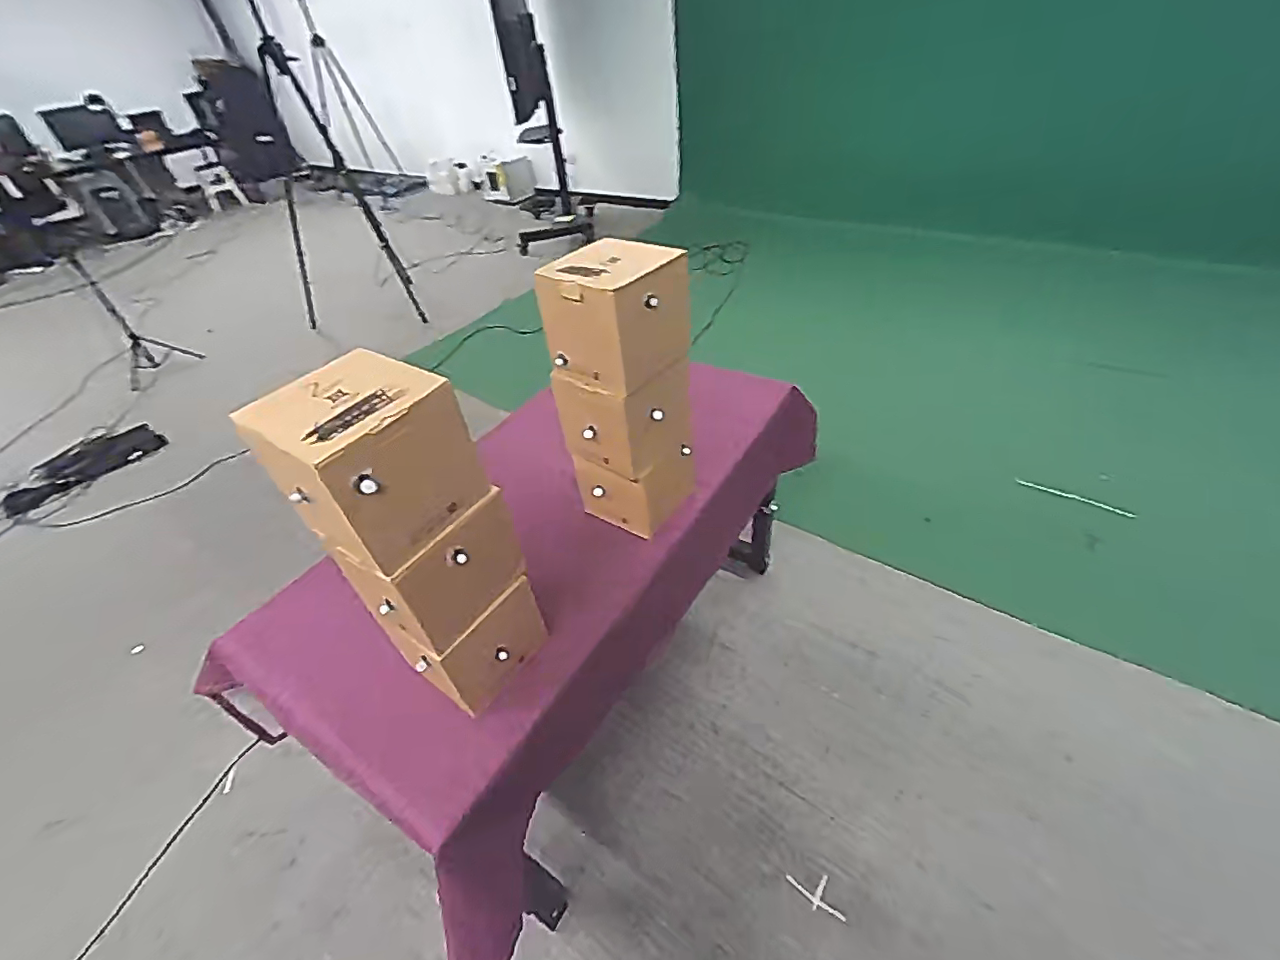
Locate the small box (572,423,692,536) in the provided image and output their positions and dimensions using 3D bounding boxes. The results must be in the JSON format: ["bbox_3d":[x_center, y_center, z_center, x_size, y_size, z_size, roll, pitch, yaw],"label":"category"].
[{"bbox_3d":[-0.005,-0.018,1.074,0.168,0.176,0.179,21,49,29],"label":"small box"}]

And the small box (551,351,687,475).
[{"bbox_3d":[-0.027,-0.136,0.962,0.168,0.176,0.179,25,51,31],"label":"small box"}]

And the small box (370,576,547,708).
[{"bbox_3d":[-0.271,0.225,0.844,0.179,0.176,0.168,22,49,30],"label":"small box"}]

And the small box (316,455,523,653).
[{"bbox_3d":[-0.286,0.100,0.739,0.168,0.176,0.179,22,49,28],"label":"small box"}]

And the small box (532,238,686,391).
[{"bbox_3d":[-0.038,-0.263,0.857,0.168,0.176,0.179,24,50,32],"label":"small box"}]
